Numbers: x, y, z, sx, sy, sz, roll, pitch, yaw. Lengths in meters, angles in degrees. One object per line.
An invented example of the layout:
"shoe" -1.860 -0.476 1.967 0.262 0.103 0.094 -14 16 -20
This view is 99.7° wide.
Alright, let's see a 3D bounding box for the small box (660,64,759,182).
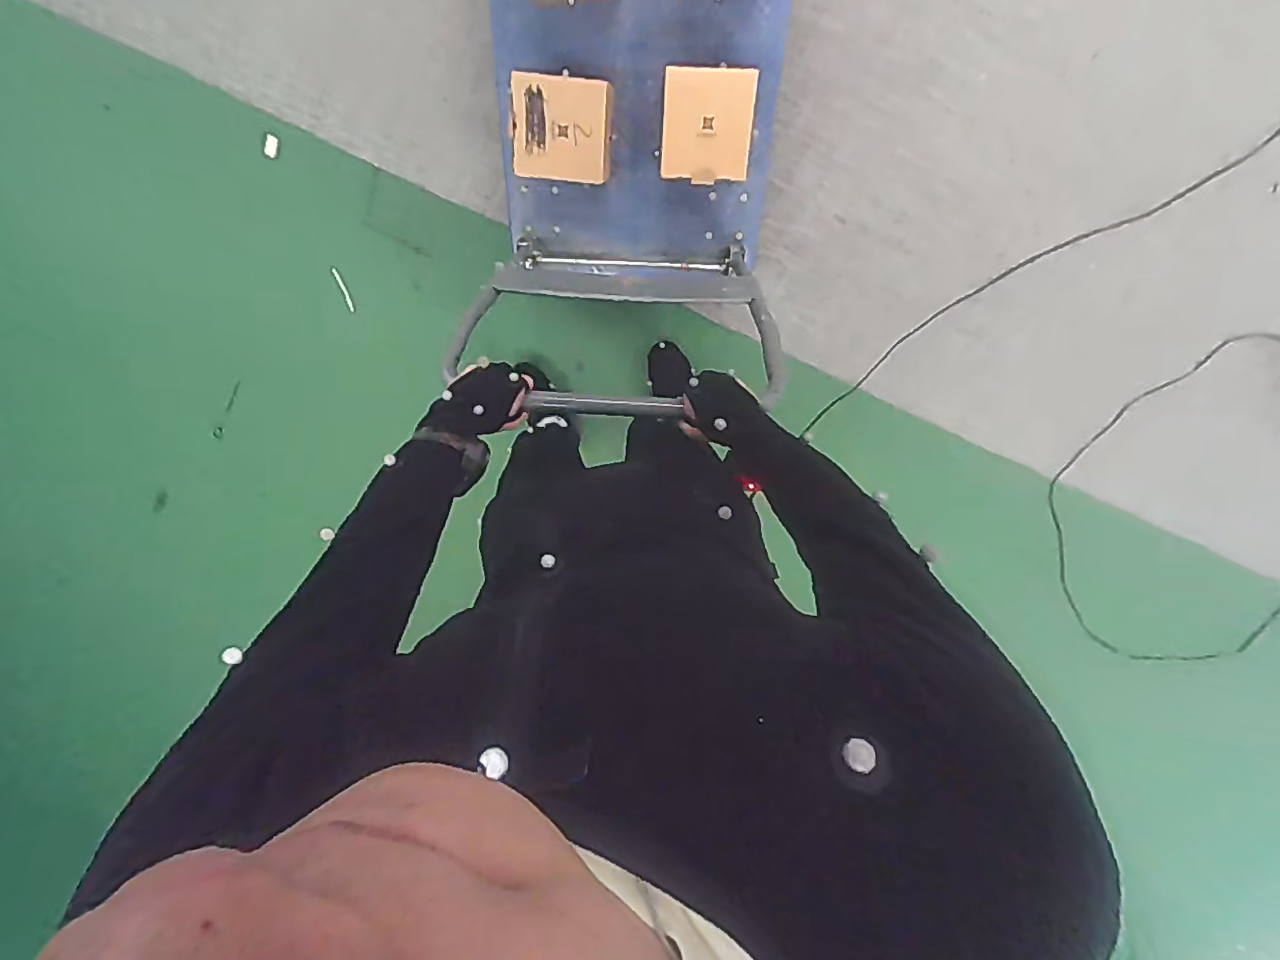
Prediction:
"small box" 0.126 -0.695 1.062 0.168 0.176 0.179 3 123 1
